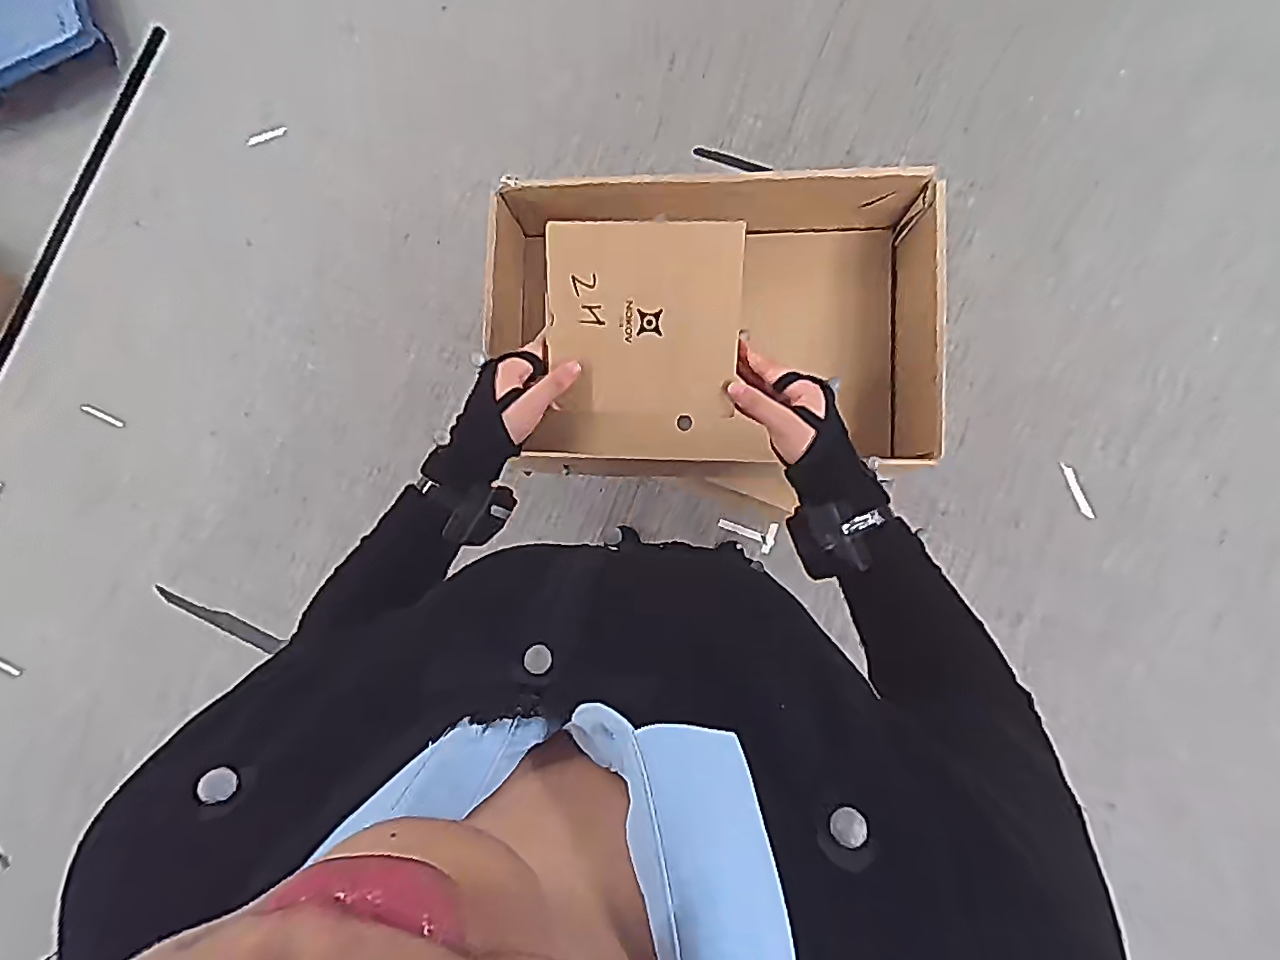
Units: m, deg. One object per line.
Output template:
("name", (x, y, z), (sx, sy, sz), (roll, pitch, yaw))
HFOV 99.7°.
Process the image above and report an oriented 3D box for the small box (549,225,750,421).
("small box", (0.014, -0.155, 0.560), (0.179, 0.176, 0.168), (4, 101, 7))
